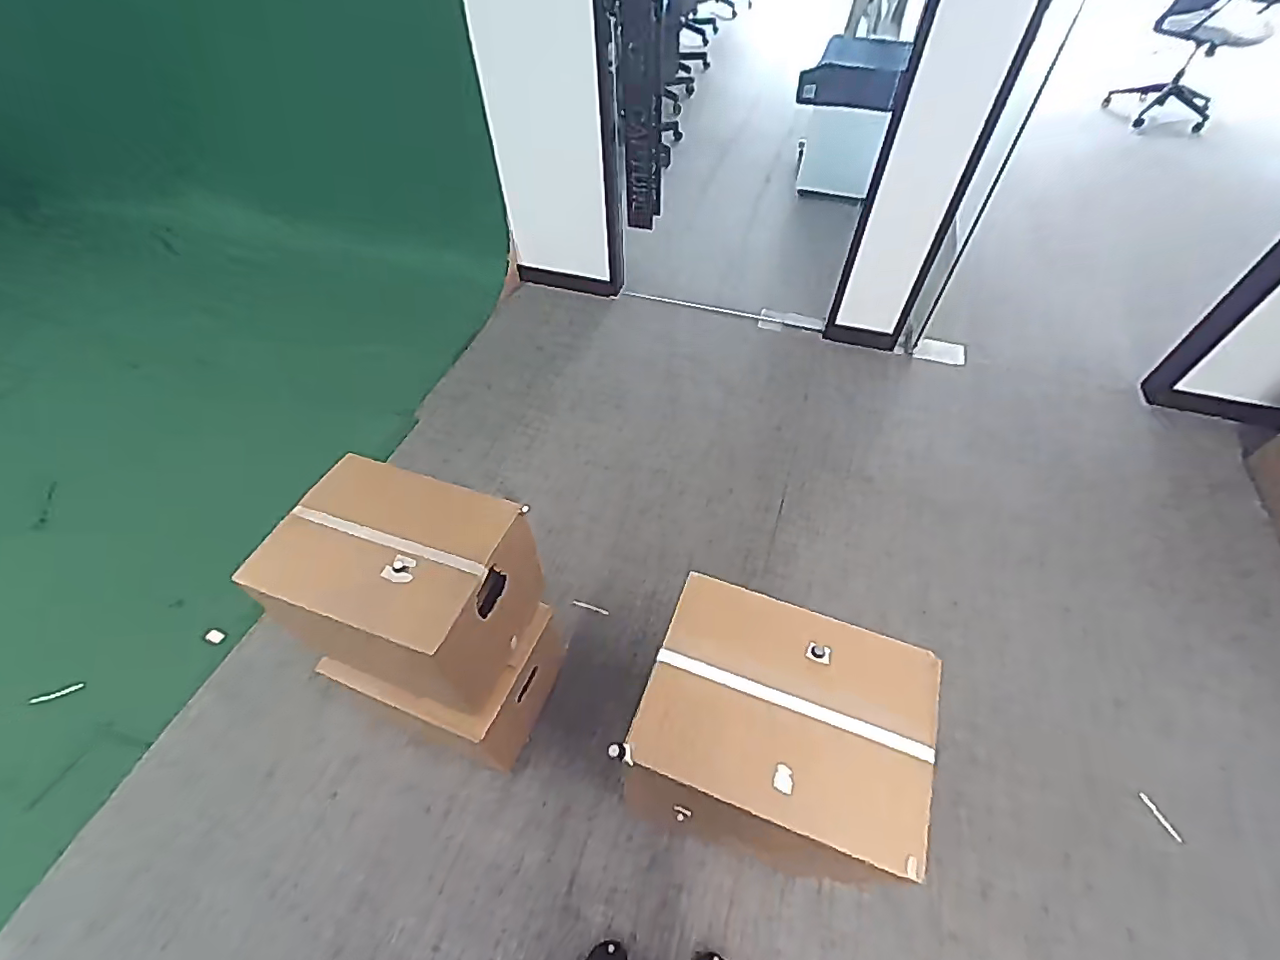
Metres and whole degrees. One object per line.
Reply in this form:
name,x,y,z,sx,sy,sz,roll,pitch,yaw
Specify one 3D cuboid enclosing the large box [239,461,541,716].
large box,-0.456,0.215,1.087,0.408,0.320,0.320,16,51,11
